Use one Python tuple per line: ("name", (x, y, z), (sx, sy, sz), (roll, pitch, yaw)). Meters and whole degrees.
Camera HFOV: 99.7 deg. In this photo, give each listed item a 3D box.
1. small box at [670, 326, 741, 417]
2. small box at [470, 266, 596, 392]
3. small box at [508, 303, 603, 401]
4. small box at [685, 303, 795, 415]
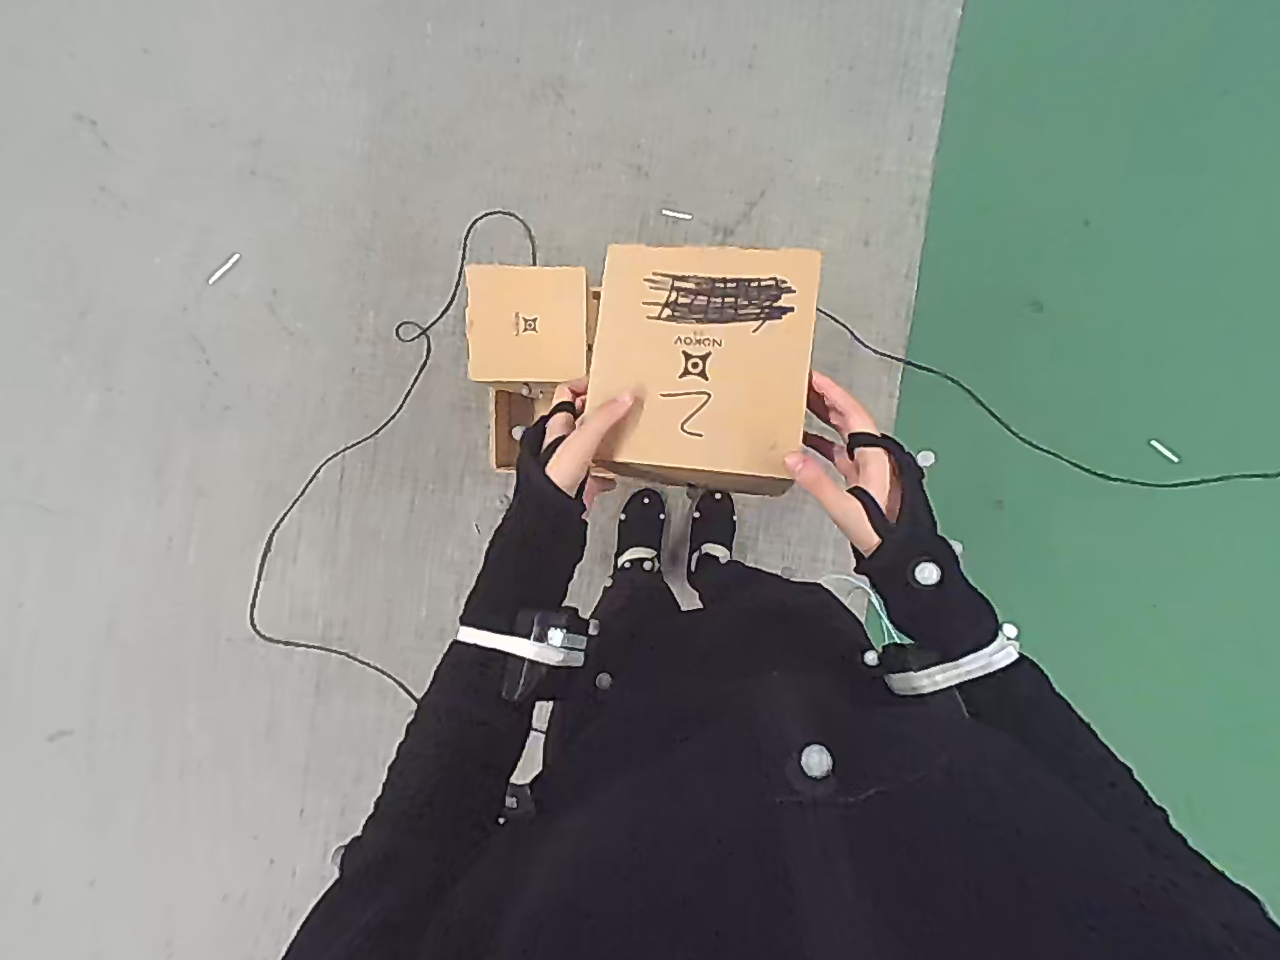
("small box", (0.163, -0.233, 1.198), (0.179, 0.176, 0.168), (6, 93, -1))
("small box", (-0.162, -0.231, 0.864), (0.179, 0.176, 0.168), (1, 95, -1))
("small box", (-0.167, -0.243, 1.025), (0.179, 0.176, 0.168), (6, 94, -3))
("small box", (0.182, -0.221, 1.034), (0.168, 0.176, 0.179), (6, 92, -3))
